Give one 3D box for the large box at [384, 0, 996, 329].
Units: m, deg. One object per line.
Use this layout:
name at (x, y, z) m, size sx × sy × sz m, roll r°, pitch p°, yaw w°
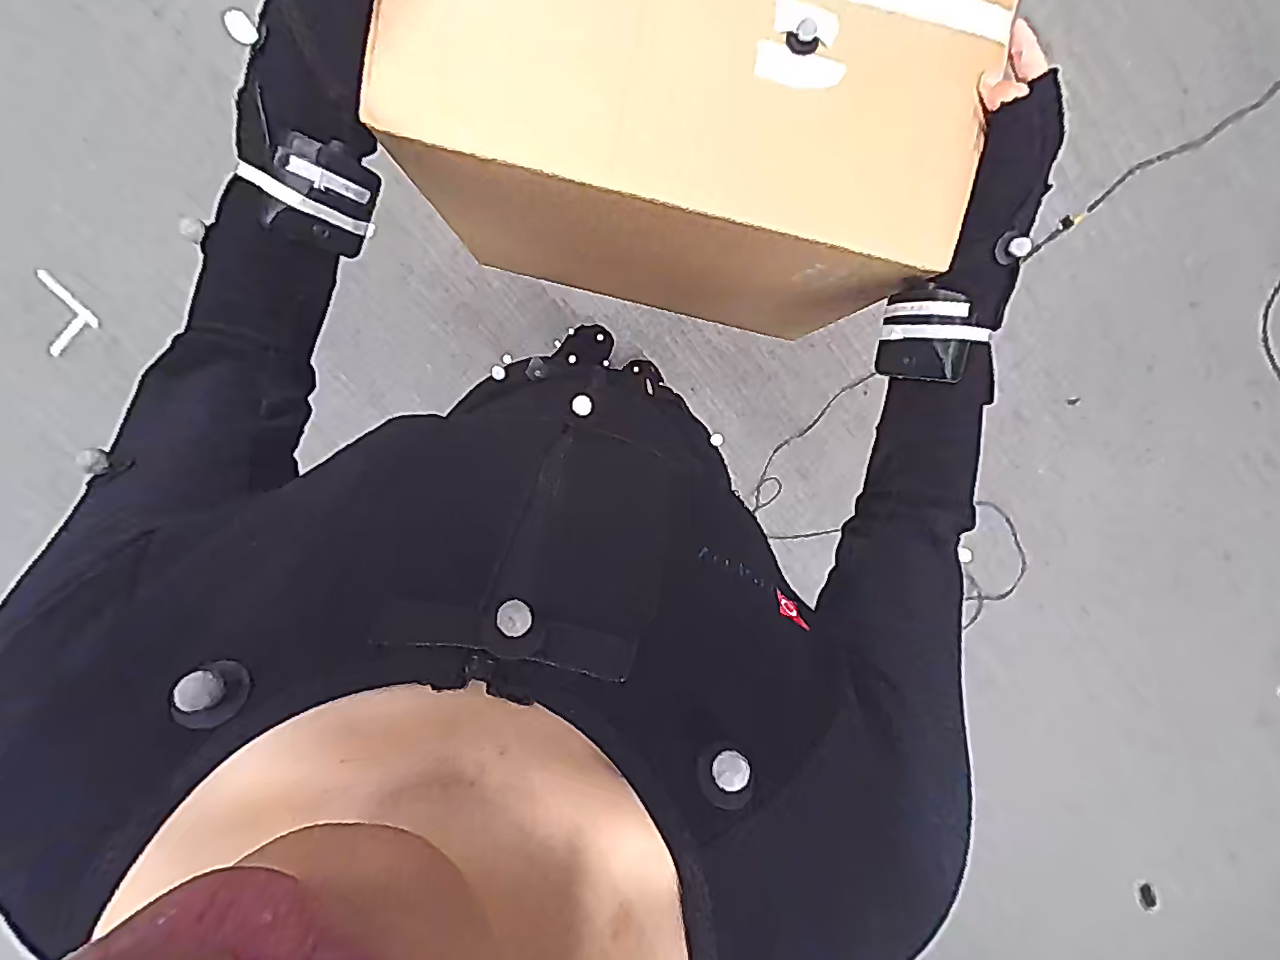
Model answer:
large box at (0.037, -0.359, 0.512) m, size 0.408 × 0.320 × 0.320 m, roll 11°, pitch 95°, yaw -4°
